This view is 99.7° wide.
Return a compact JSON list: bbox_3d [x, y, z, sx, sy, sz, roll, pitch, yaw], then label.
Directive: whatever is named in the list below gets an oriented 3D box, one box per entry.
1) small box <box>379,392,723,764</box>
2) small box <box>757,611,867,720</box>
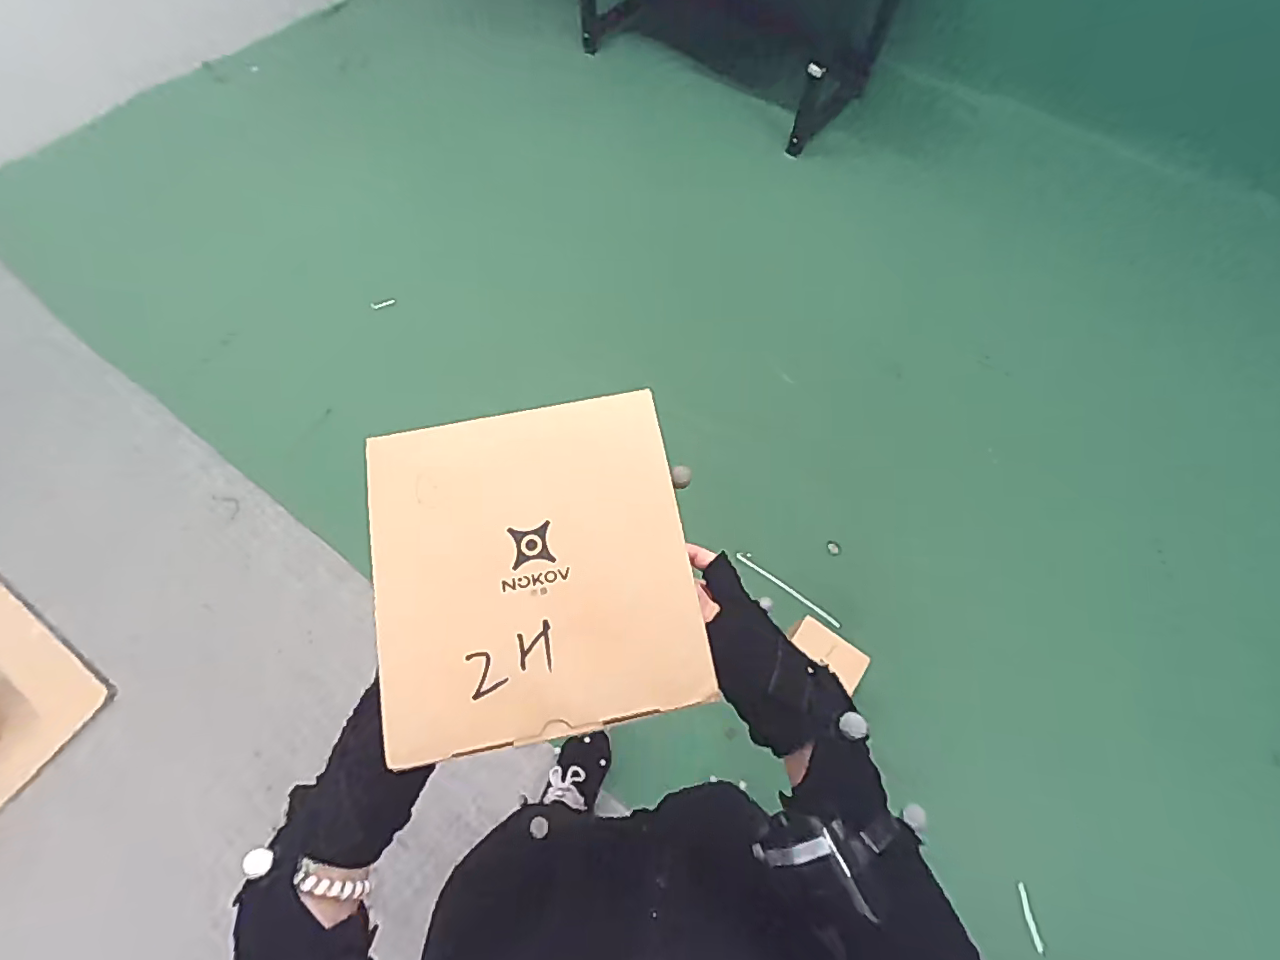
[{"bbox_3d":[-0.055,0.065,0.365,0.168,0.176,0.179,-11,74,-4],"label":"small box"},{"bbox_3d":[0.394,0.442,1.271,0.168,0.176,0.179,35,68,15],"label":"small box"}]
